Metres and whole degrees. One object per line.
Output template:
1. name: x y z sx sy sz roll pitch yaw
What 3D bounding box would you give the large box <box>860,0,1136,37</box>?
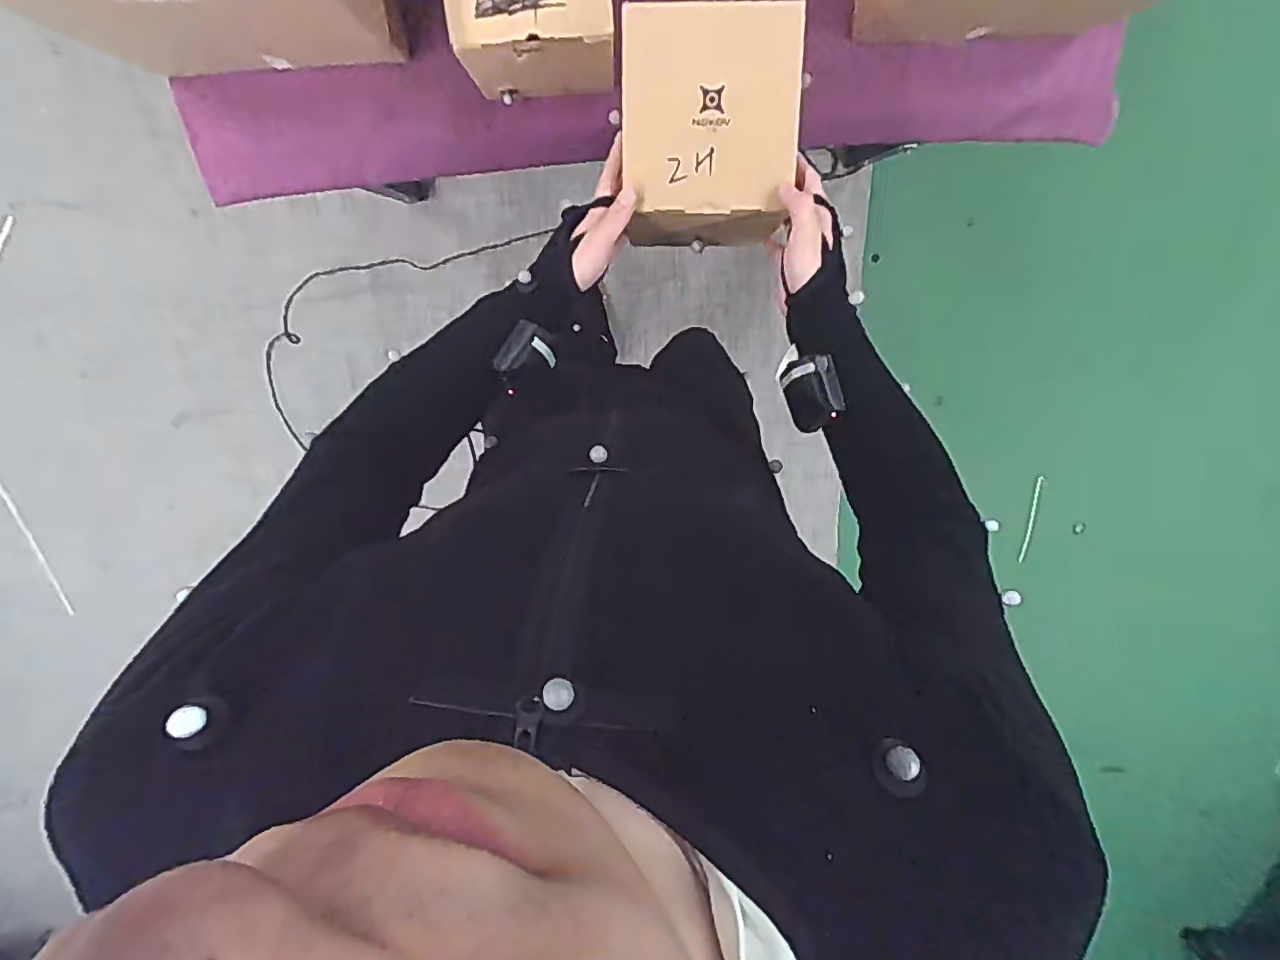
1. large box: 0.422 -0.700 0.481 0.320 0.320 0.408 -4 112 -1

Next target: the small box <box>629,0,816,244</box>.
1. small box: 0.073 -0.362 0.571 0.168 0.176 0.179 1 103 1
